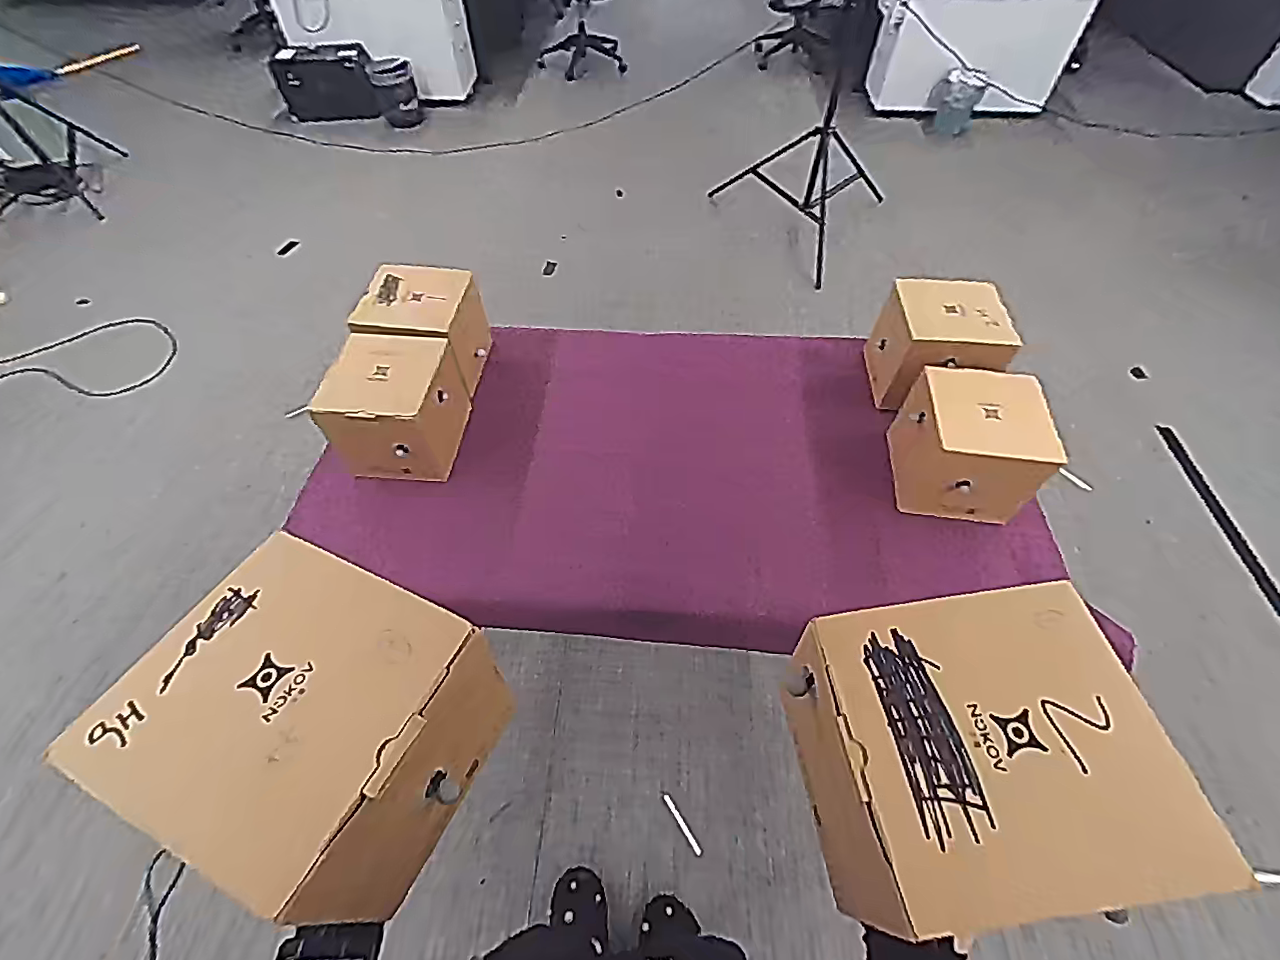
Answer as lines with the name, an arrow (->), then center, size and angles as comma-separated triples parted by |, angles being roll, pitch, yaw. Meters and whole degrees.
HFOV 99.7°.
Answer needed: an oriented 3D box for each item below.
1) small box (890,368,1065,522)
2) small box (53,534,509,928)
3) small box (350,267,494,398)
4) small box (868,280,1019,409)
small box -> 0.514, -0.051, 0.856 | 0.168, 0.176, 0.179 | 7, 54, 6
small box -> -0.215, 0.173, 0.385 | 0.179, 0.176, 0.168 | 21, 54, 13
small box -> -0.392, -0.271, 1.007 | 0.179, 0.176, 0.168 | 6, 57, 2
small box -> 0.529, -0.237, 0.979 | 0.179, 0.176, 0.168 | 4, 56, 3
